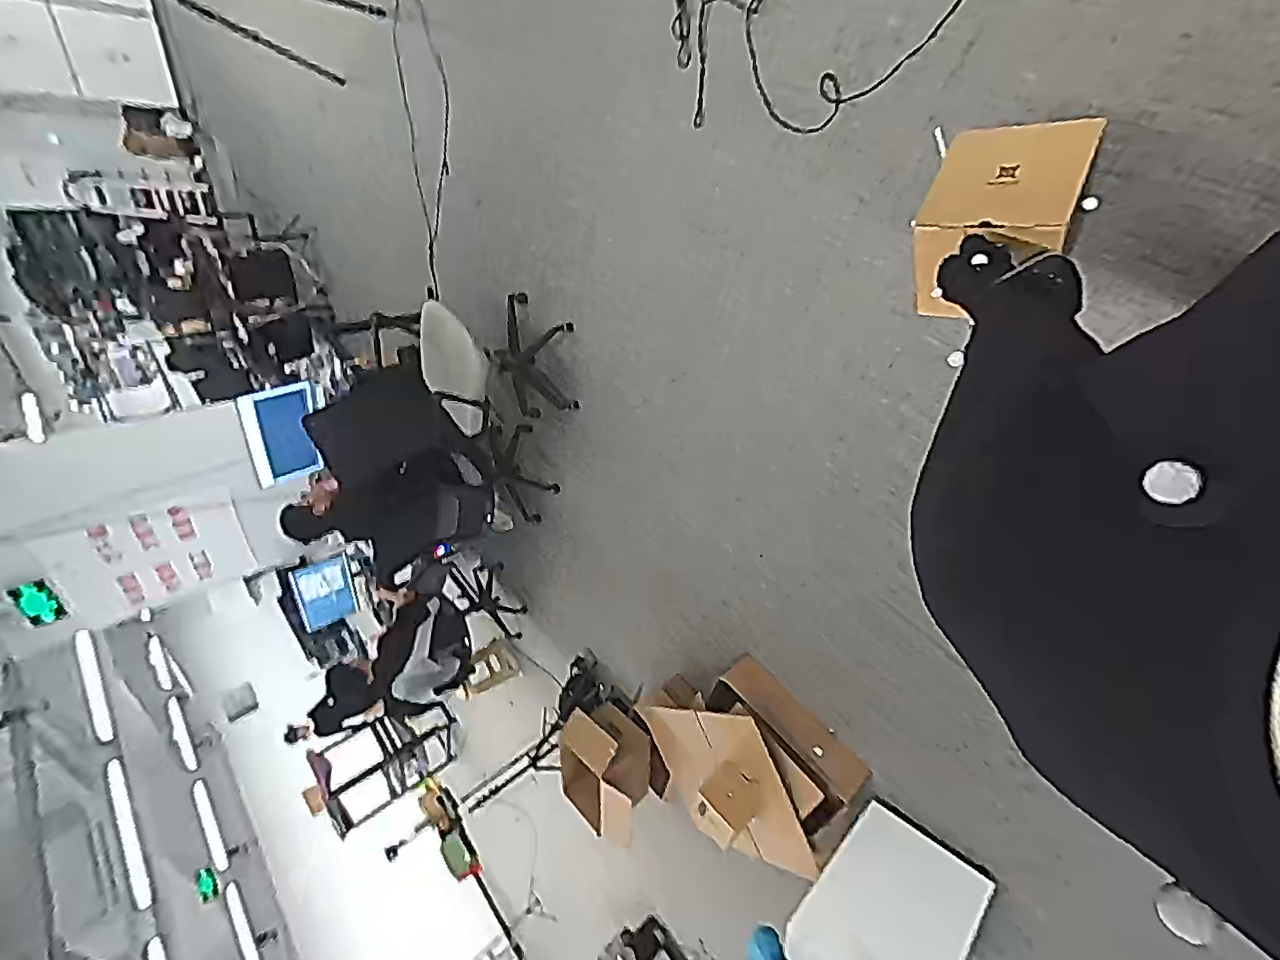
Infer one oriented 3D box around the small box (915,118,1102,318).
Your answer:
[{"bbox_3d":[0.494,-0.354,0.747,0.168,0.179,0.176,19,165,34],"label":"small box"}]
